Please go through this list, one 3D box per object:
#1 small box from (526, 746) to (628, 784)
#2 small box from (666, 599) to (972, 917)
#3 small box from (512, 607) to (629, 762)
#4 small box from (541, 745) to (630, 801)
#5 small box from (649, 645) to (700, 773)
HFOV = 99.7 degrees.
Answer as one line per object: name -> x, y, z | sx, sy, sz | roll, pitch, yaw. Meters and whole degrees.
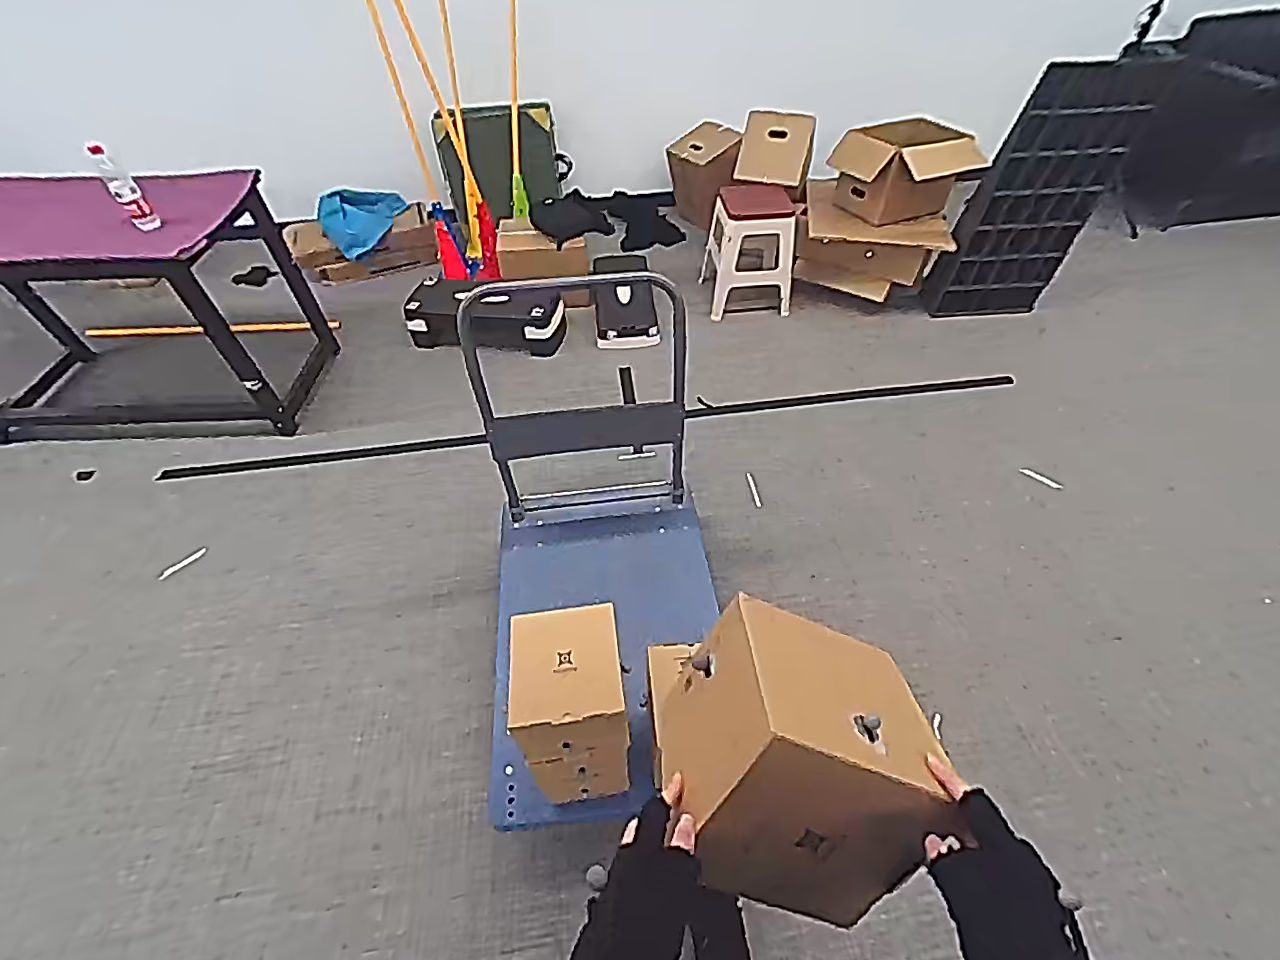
small box -> -0.115, 0.441, 0.993 | 0.168, 0.176, 0.179 | -8, 50, -6
small box -> 0.136, 0.236, 0.486 | 0.179, 0.168, 0.176 | 24, 21, -9
small box -> -0.109, 0.330, 0.873 | 0.168, 0.176, 0.179 | -7, 49, -5
small box -> -0.112, 0.548, 1.118 | 0.168, 0.176, 0.179 | -7, 49, -5
small box -> 0.105, 0.423, 1.004 | 0.168, 0.176, 0.179 | -5, 50, -3
